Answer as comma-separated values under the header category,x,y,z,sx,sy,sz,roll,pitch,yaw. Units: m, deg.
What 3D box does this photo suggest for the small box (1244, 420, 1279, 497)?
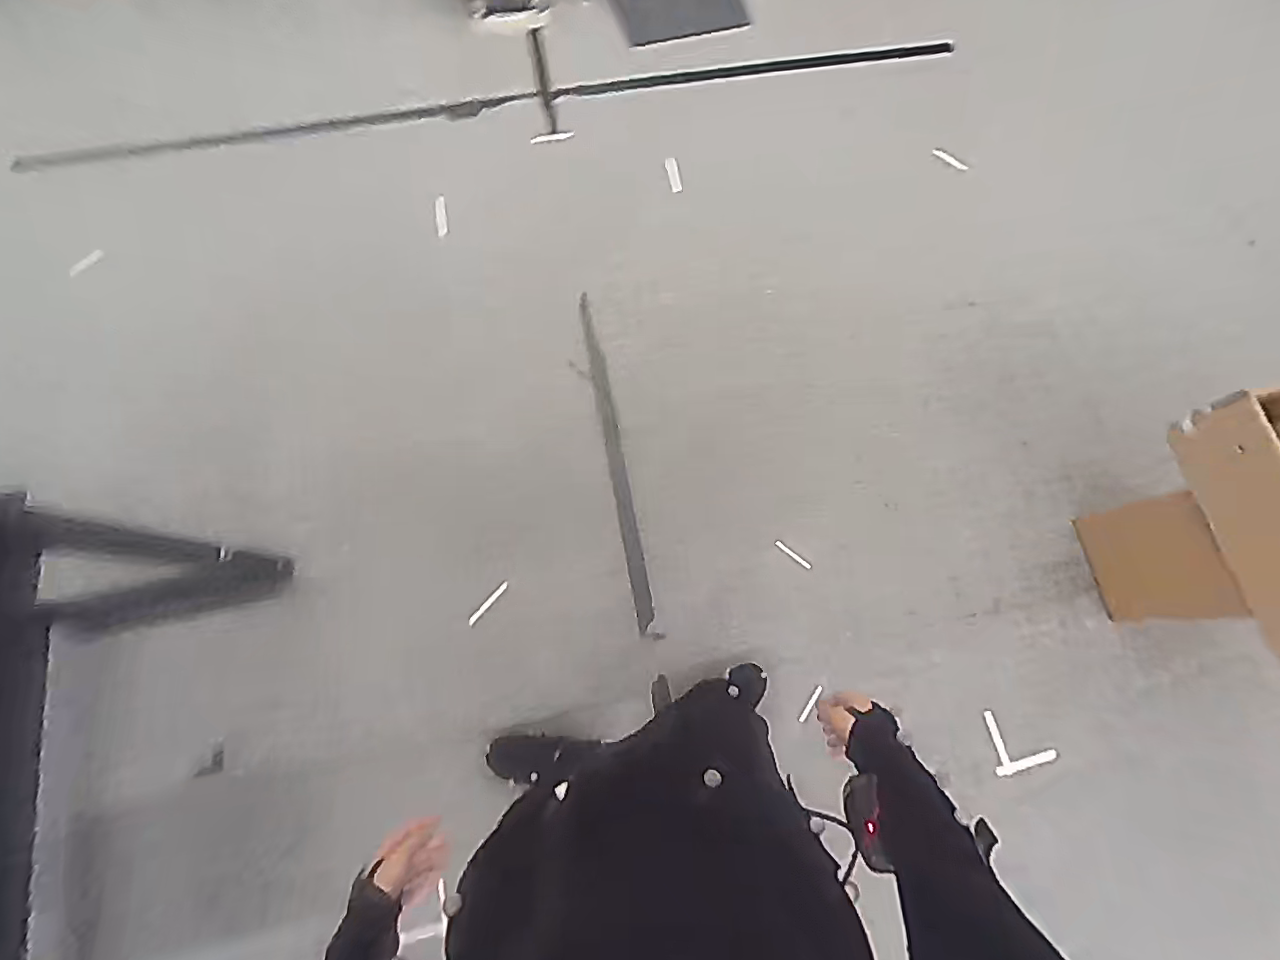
category,x,y,z,sx,sy,sz,roll,pitch,yaw
small box,1.482,-0.072,1.152,0.179,0.176,0.168,-12,74,-6
